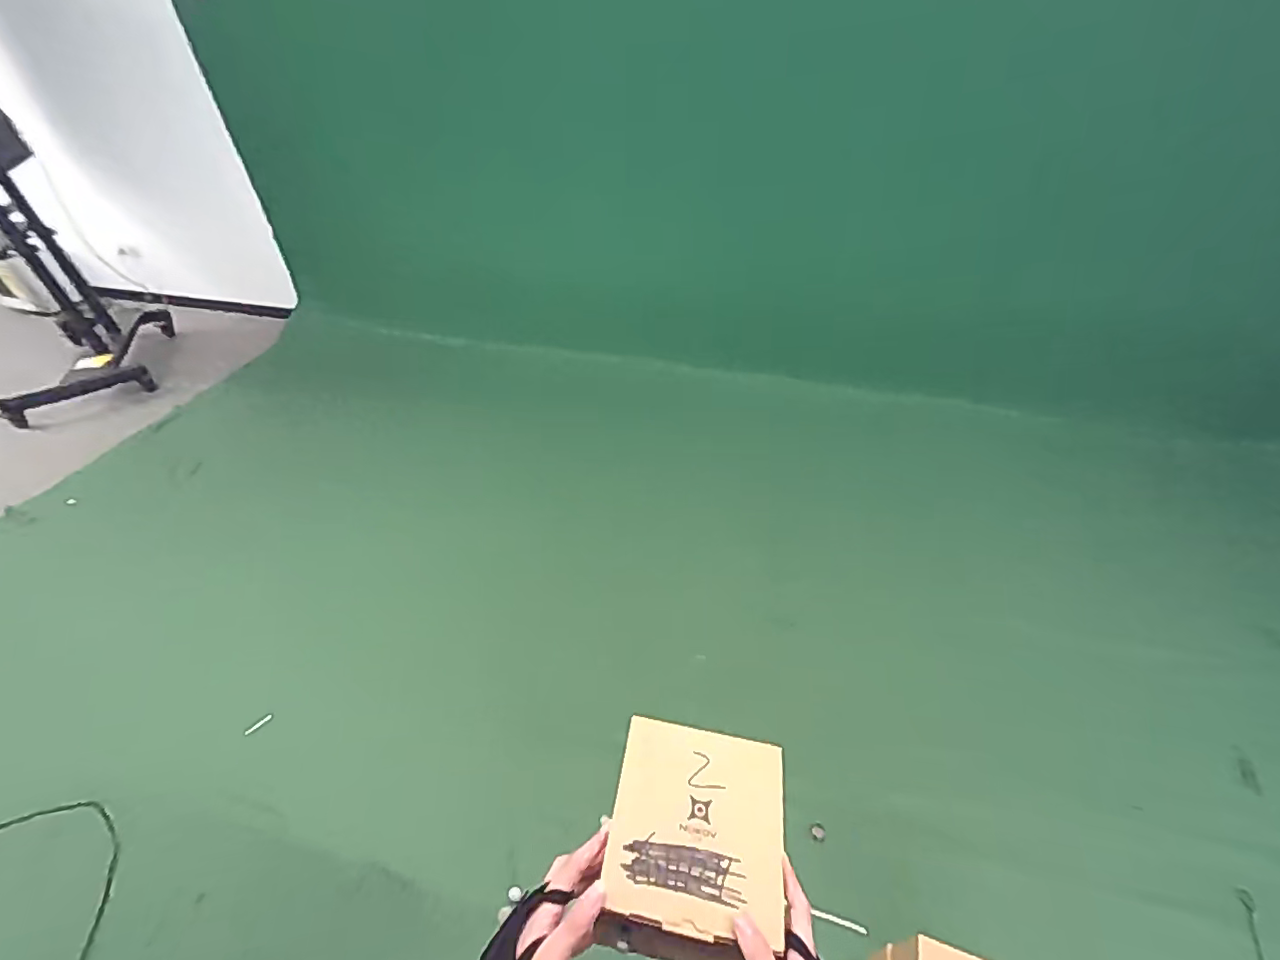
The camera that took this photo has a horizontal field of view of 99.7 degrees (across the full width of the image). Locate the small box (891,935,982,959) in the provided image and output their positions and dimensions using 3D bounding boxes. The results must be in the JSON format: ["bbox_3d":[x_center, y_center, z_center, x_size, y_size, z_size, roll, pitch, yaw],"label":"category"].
[{"bbox_3d":[0.570,0.988,0.994,0.168,0.176,0.179,14,45,15],"label":"small box"}]

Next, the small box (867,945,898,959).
[{"bbox_3d":[0.568,1.106,1.110,0.168,0.176,0.179,13,45,13],"label":"small box"}]
